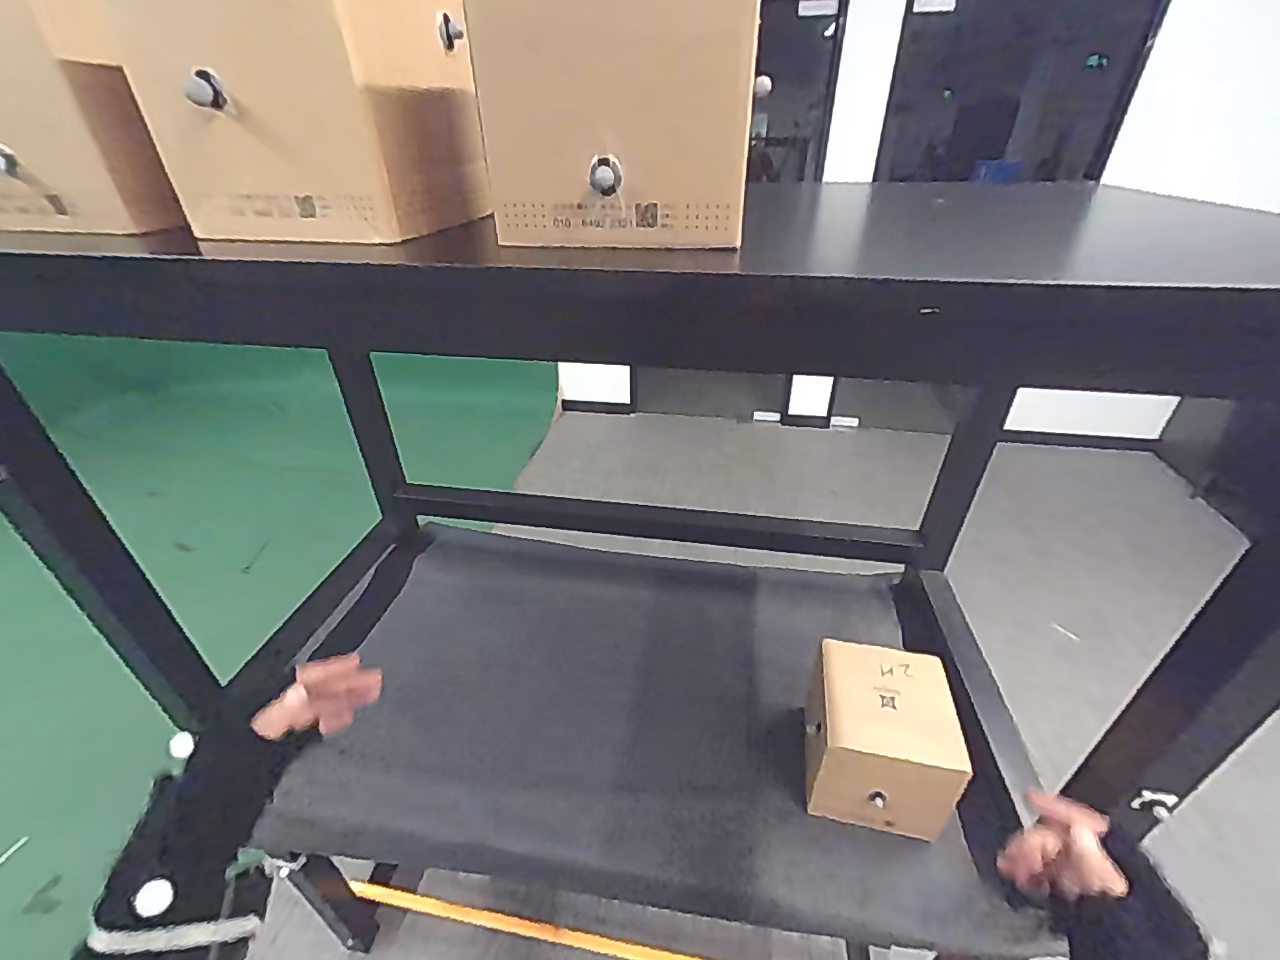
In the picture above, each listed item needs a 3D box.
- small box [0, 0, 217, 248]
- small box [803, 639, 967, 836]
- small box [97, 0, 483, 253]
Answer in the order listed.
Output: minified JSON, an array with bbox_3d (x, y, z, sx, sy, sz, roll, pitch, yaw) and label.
[{"bbox_3d":[-0.460,-0.311,0.473,0.168,0.176,0.179,5,34,9],"label":"small box"},{"bbox_3d":[0.328,0.358,0.760,0.168,0.176,0.179,7,33,12],"label":"small box"},{"bbox_3d":[-0.241,-0.282,0.428,0.168,0.176,0.179,5,33,10],"label":"small box"}]
